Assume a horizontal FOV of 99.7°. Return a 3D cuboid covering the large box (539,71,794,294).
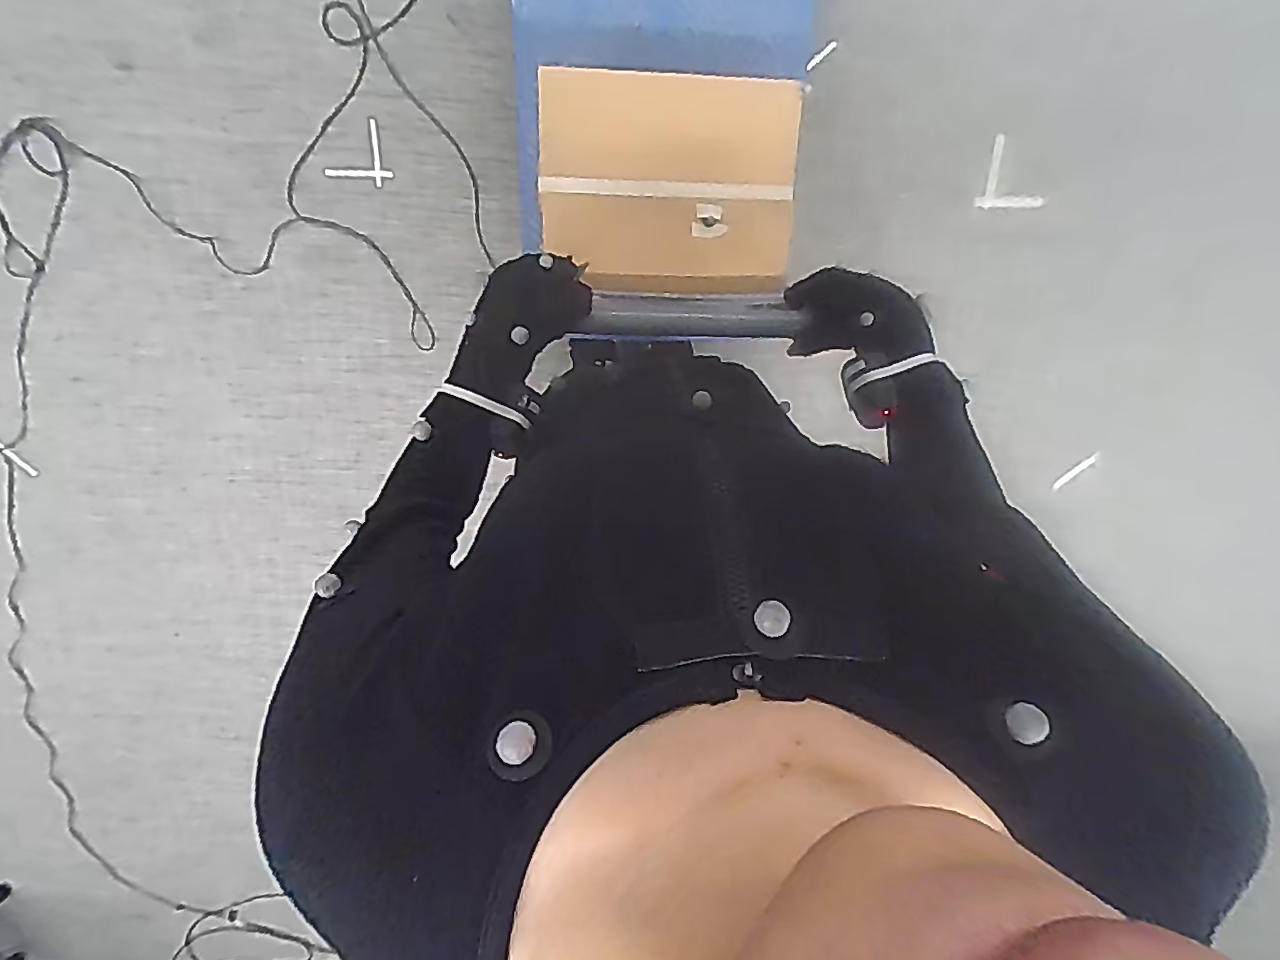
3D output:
[{"bbox_3d":[0.031,-0.520,1.017,0.408,0.320,0.320,-1,108,-5],"label":"large box"}]
